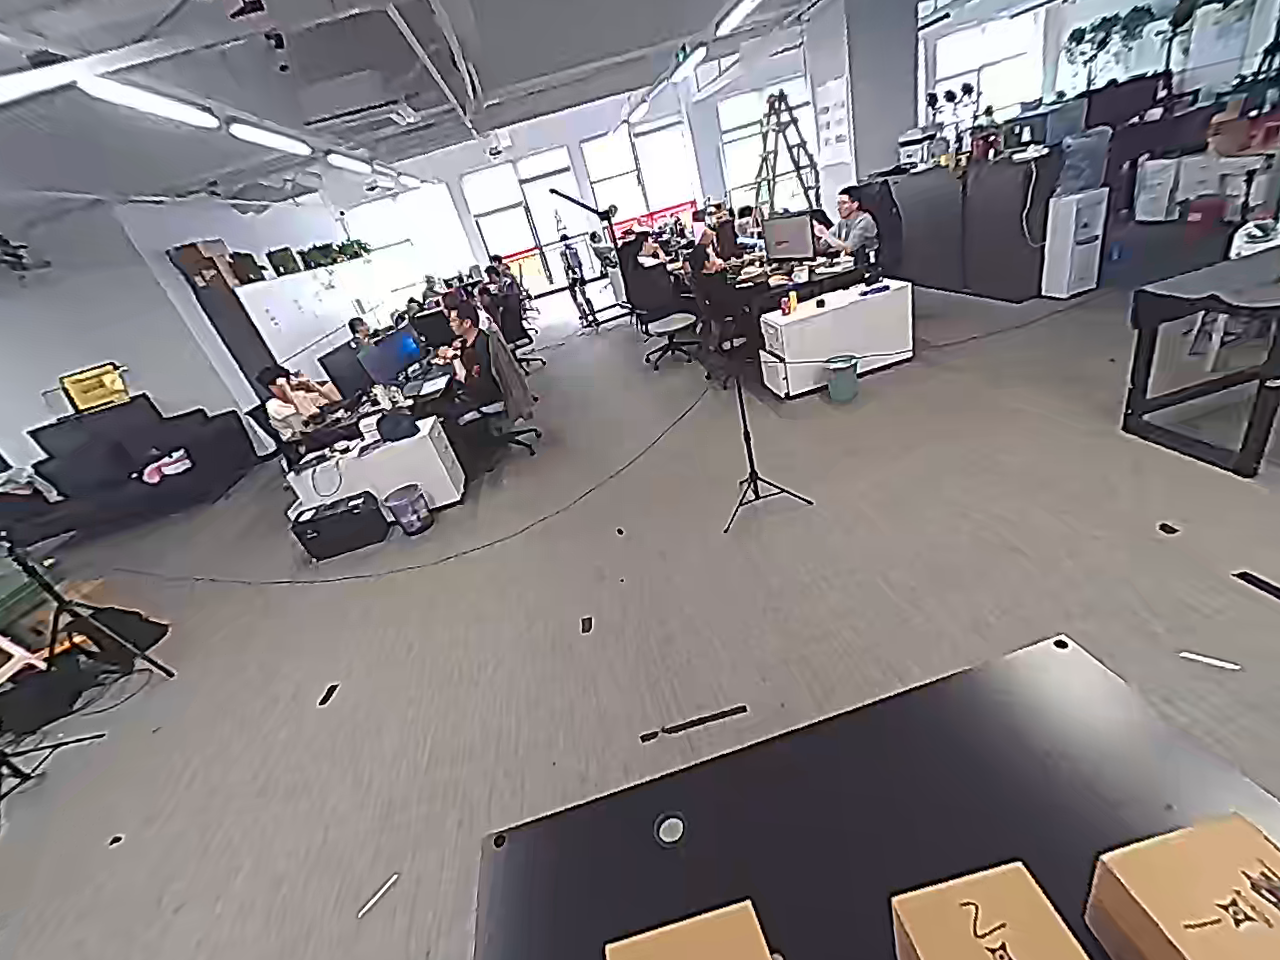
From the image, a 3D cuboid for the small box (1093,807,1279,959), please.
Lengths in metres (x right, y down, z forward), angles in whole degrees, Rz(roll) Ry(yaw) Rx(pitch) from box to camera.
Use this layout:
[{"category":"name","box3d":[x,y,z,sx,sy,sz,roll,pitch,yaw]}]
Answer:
[{"category":"small box","box3d":[0.657,0.514,0.605,0.179,0.176,0.168,-18,27,0]}]

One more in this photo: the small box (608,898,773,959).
[{"category":"small box","box3d":[0.070,0.580,0.541,0.168,0.176,0.179,-12,27,-8]}]
